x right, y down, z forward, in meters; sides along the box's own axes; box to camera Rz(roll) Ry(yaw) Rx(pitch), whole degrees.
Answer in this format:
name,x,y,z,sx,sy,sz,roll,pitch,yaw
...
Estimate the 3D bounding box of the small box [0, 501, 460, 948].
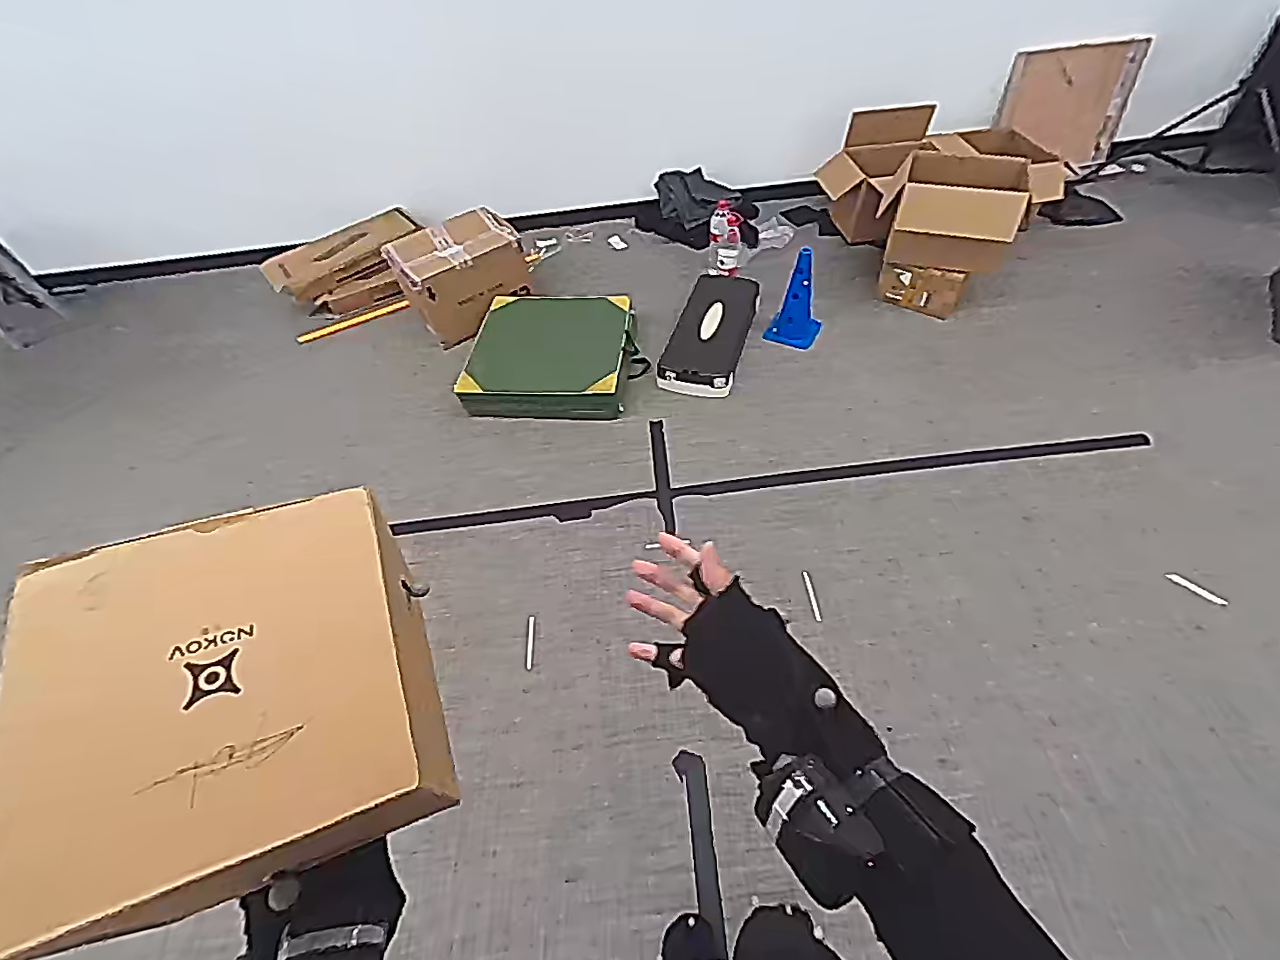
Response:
name,x,y,z,sx,sy,sz,roll,pitch,yaw
small box,-0.221,0.143,0.343,0.168,0.176,0.179,-14,61,-19
